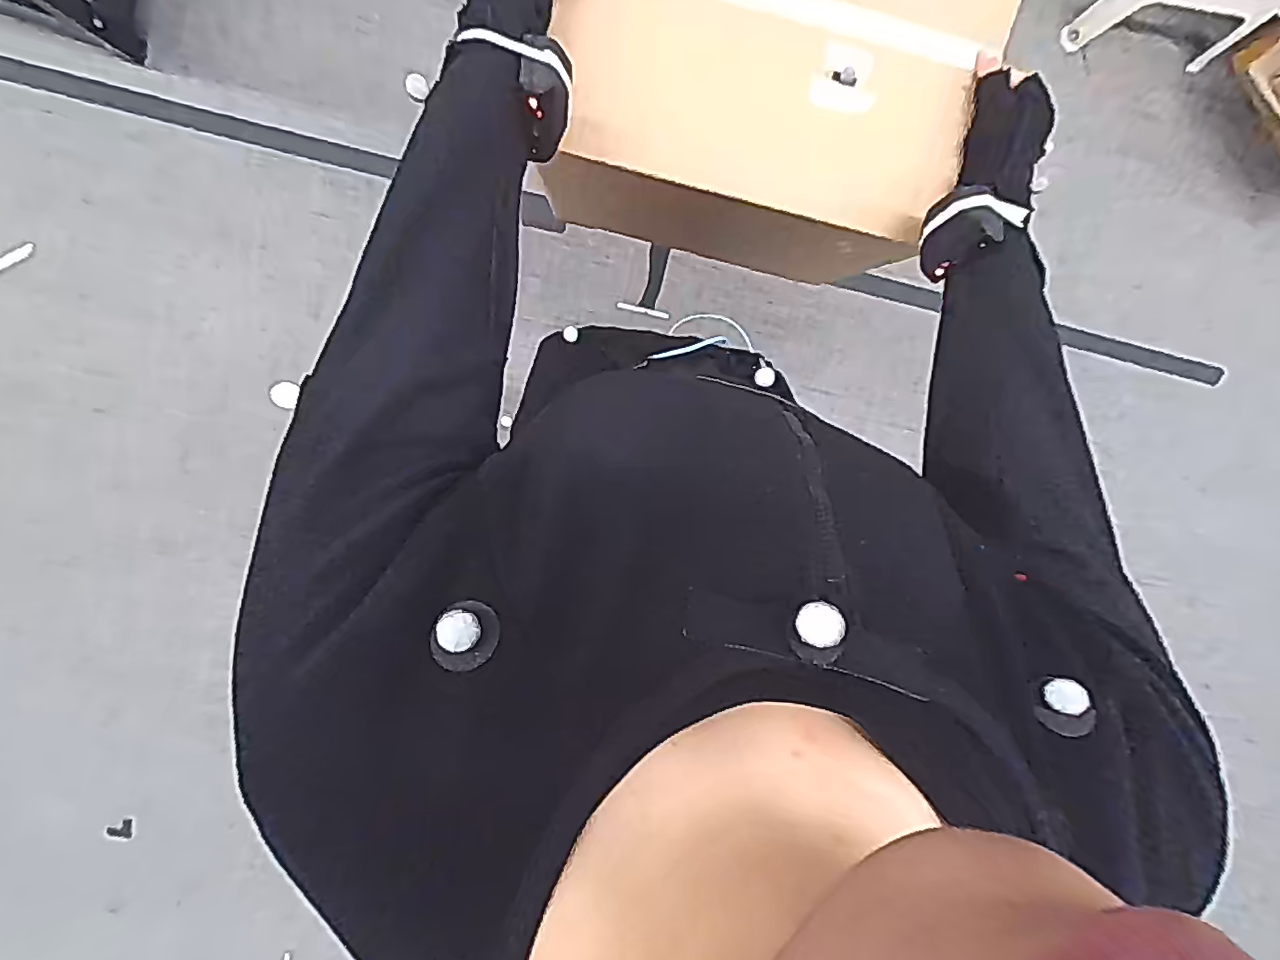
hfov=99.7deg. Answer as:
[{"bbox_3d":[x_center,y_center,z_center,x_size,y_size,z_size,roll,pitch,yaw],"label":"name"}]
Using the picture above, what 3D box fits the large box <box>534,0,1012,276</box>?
[{"bbox_3d":[0.115,-0.453,0.619,0.408,0.320,0.320,12,104,-7],"label":"large box"}]
